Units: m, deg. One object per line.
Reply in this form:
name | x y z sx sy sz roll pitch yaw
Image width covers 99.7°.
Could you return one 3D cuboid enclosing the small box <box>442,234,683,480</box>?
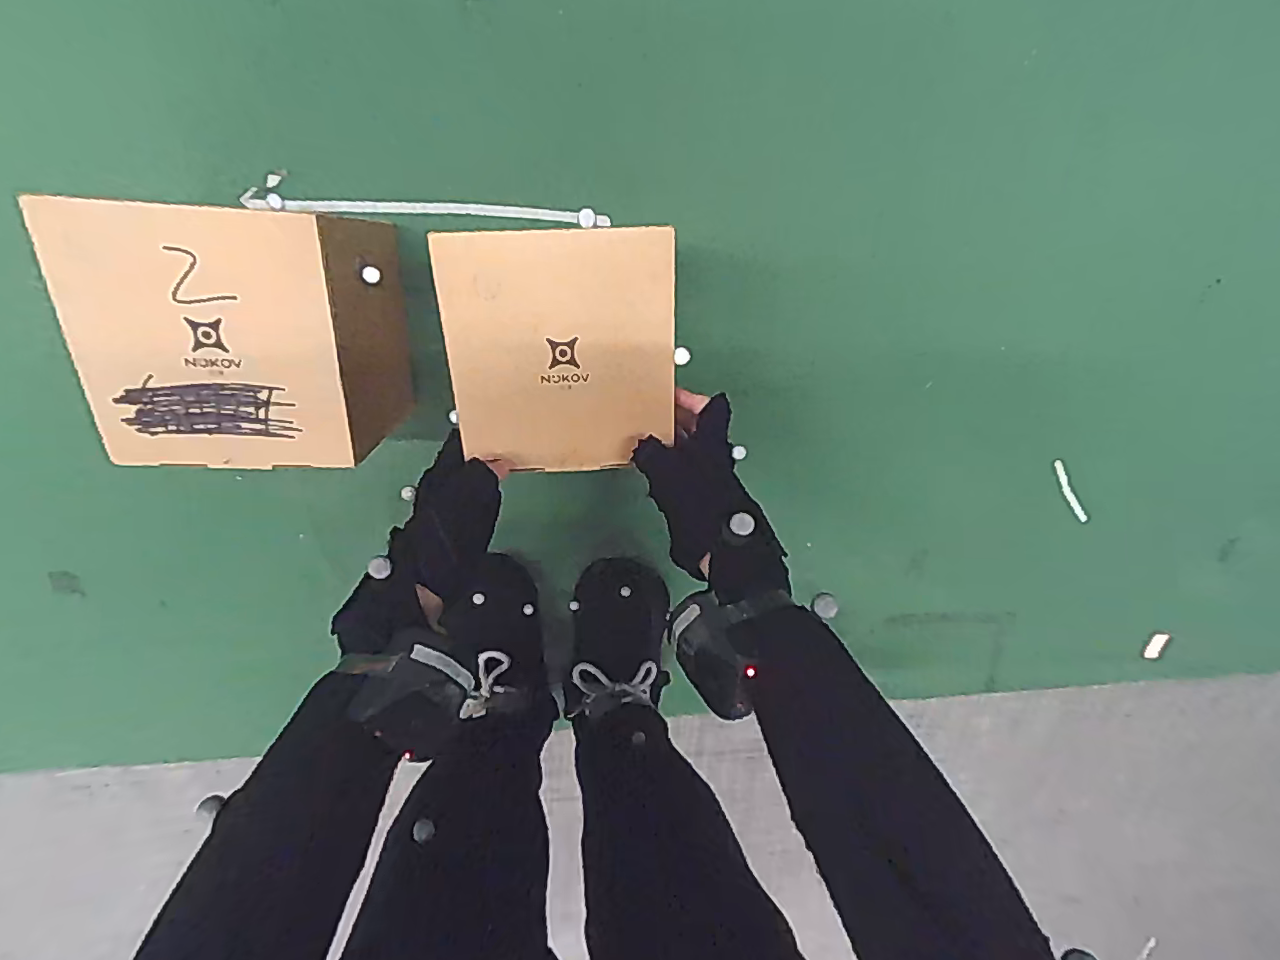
small box | -0.059 -0.115 0.469 0.168 0.176 0.179 -3 115 -4
